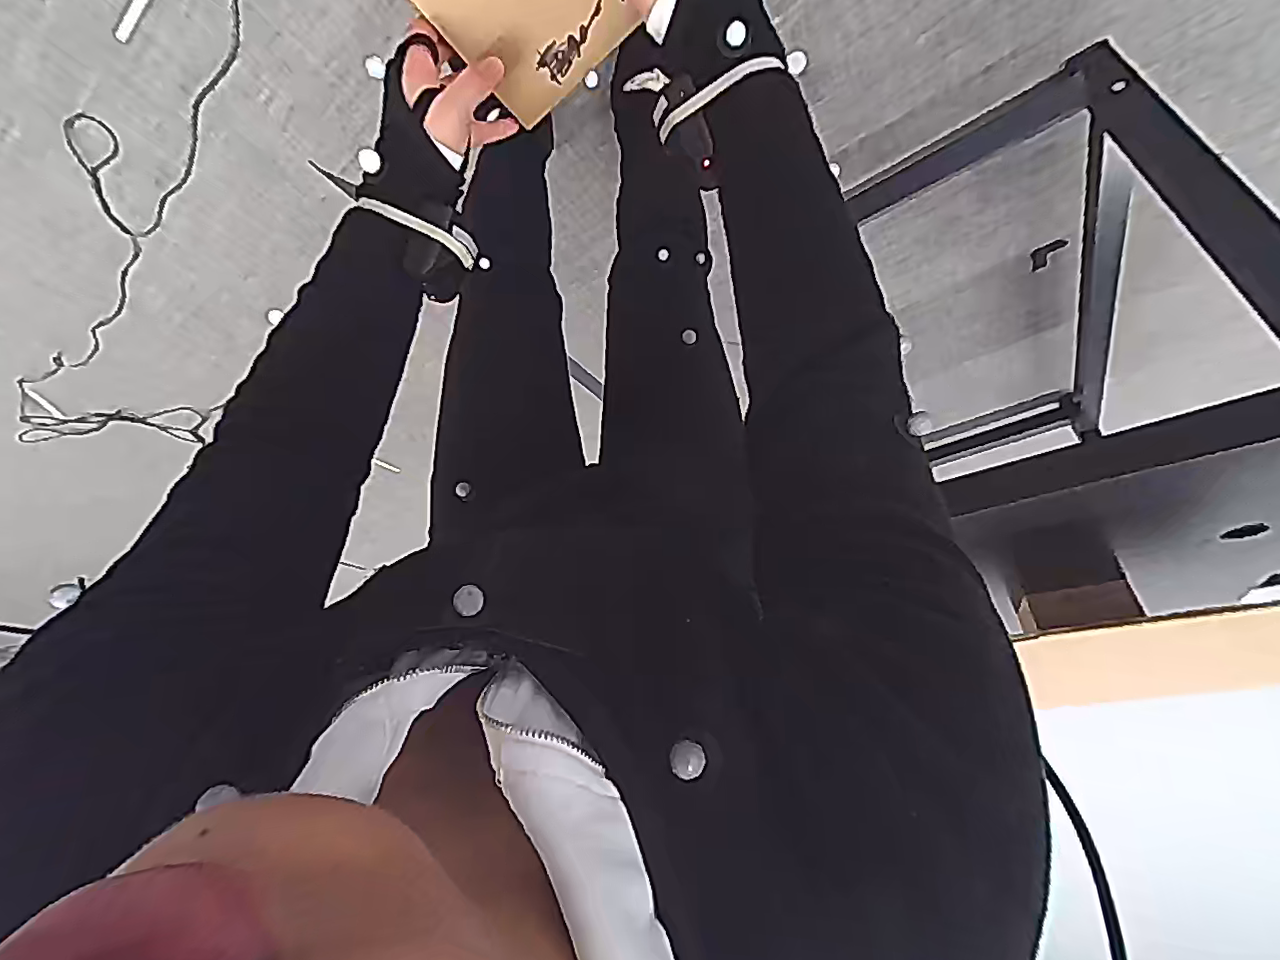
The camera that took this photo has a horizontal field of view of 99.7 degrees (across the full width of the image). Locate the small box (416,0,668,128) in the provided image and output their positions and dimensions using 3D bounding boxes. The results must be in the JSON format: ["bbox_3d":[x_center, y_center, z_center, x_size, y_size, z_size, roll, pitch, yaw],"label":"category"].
[{"bbox_3d":[-0.082,-0.434,0.417,0.168,0.176,0.179,-21,140,33],"label":"small box"}]
